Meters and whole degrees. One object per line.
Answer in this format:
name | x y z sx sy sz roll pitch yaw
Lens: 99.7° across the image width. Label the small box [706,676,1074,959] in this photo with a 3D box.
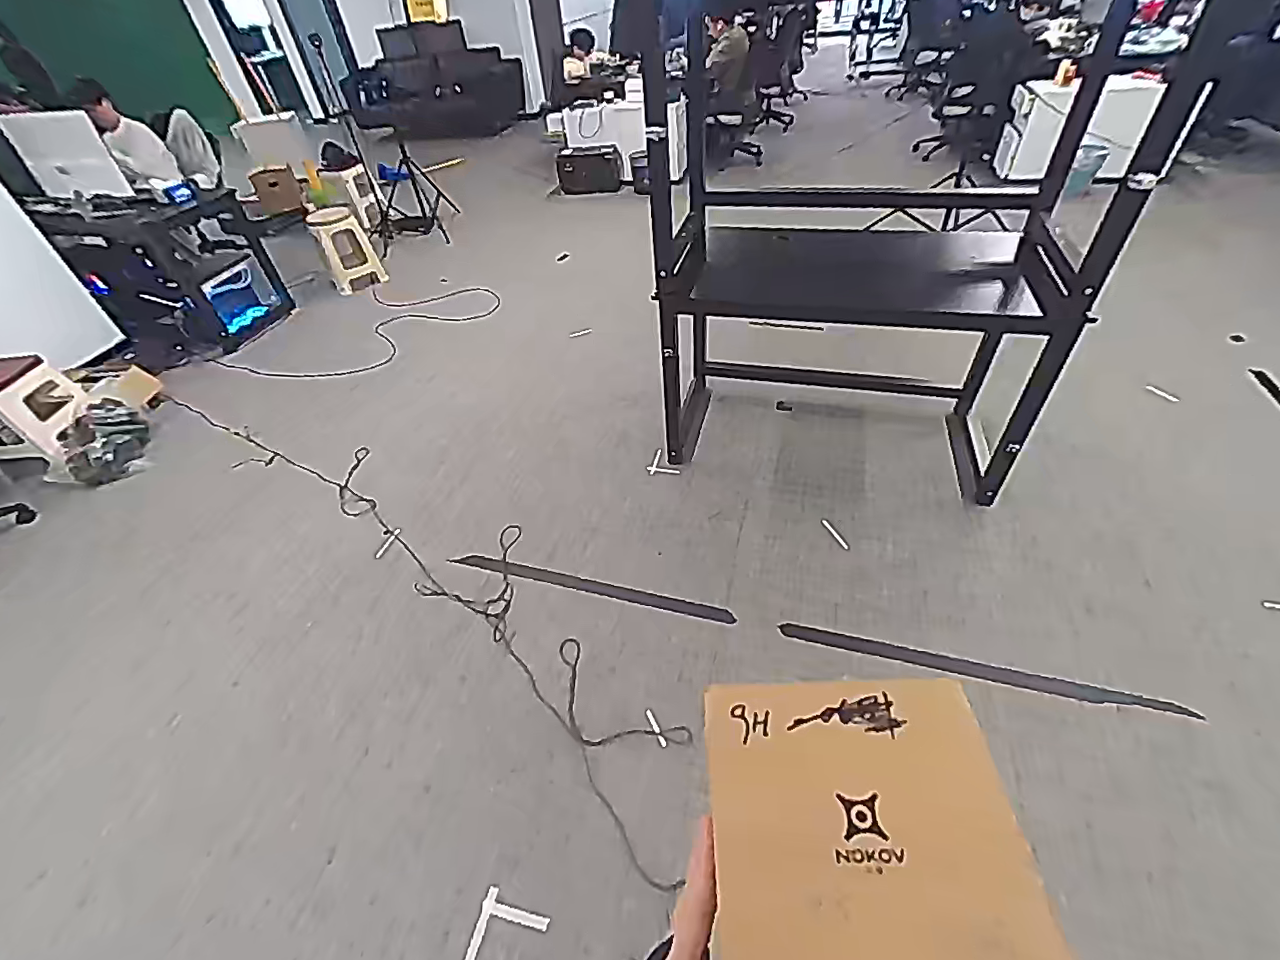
small box | 0.130 0.246 0.348 0.168 0.176 0.179 -3 46 5
